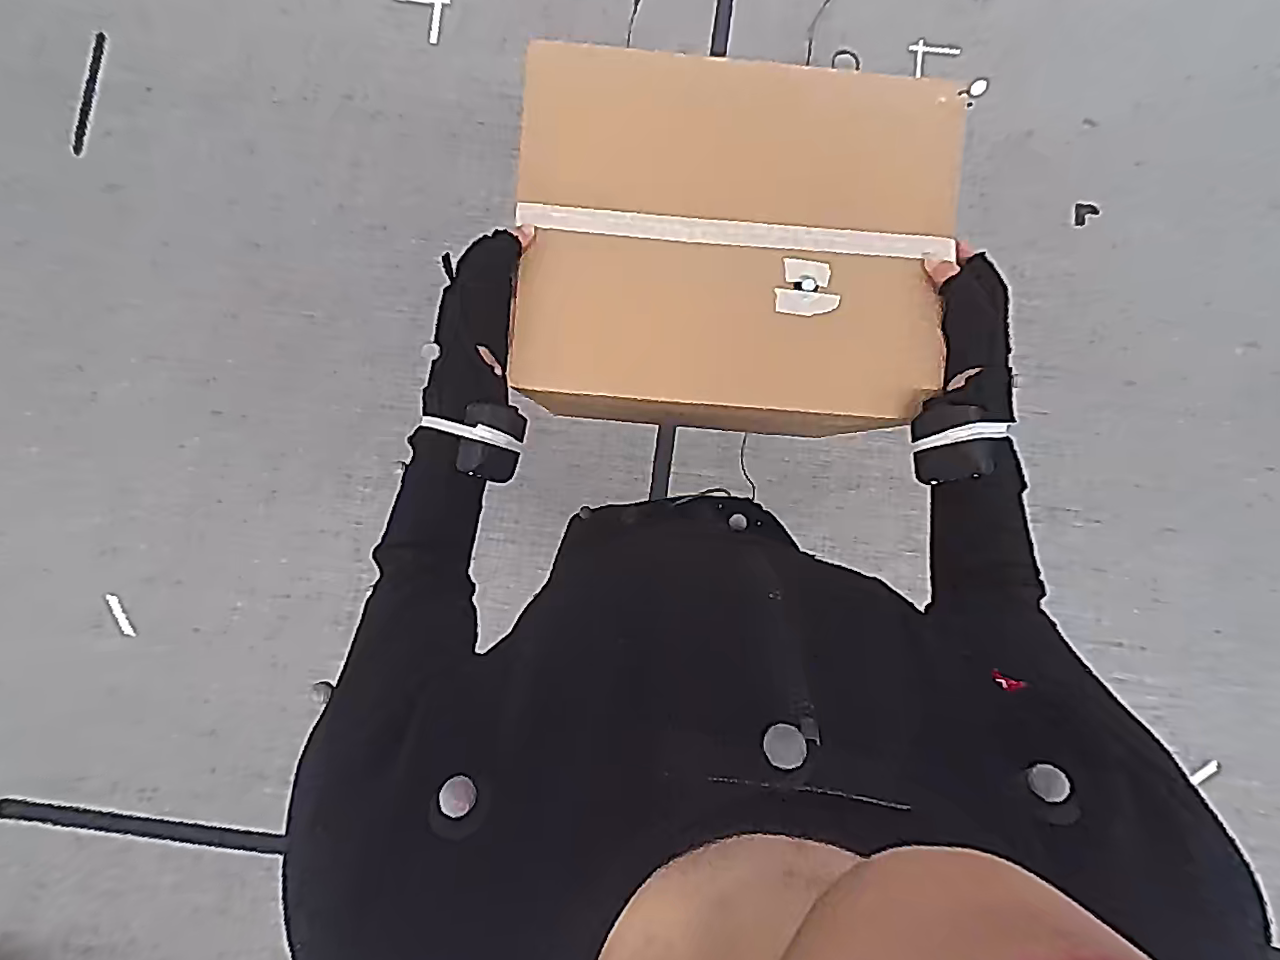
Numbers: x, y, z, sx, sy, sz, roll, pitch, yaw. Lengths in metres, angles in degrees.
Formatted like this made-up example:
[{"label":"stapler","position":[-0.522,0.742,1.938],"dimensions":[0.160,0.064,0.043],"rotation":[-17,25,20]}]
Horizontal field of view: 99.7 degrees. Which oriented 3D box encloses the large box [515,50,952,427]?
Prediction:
[{"label":"large box","position":[0.082,-0.238,0.659],"dimensions":[0.408,0.320,0.320],"rotation":[5,93,-2]}]
